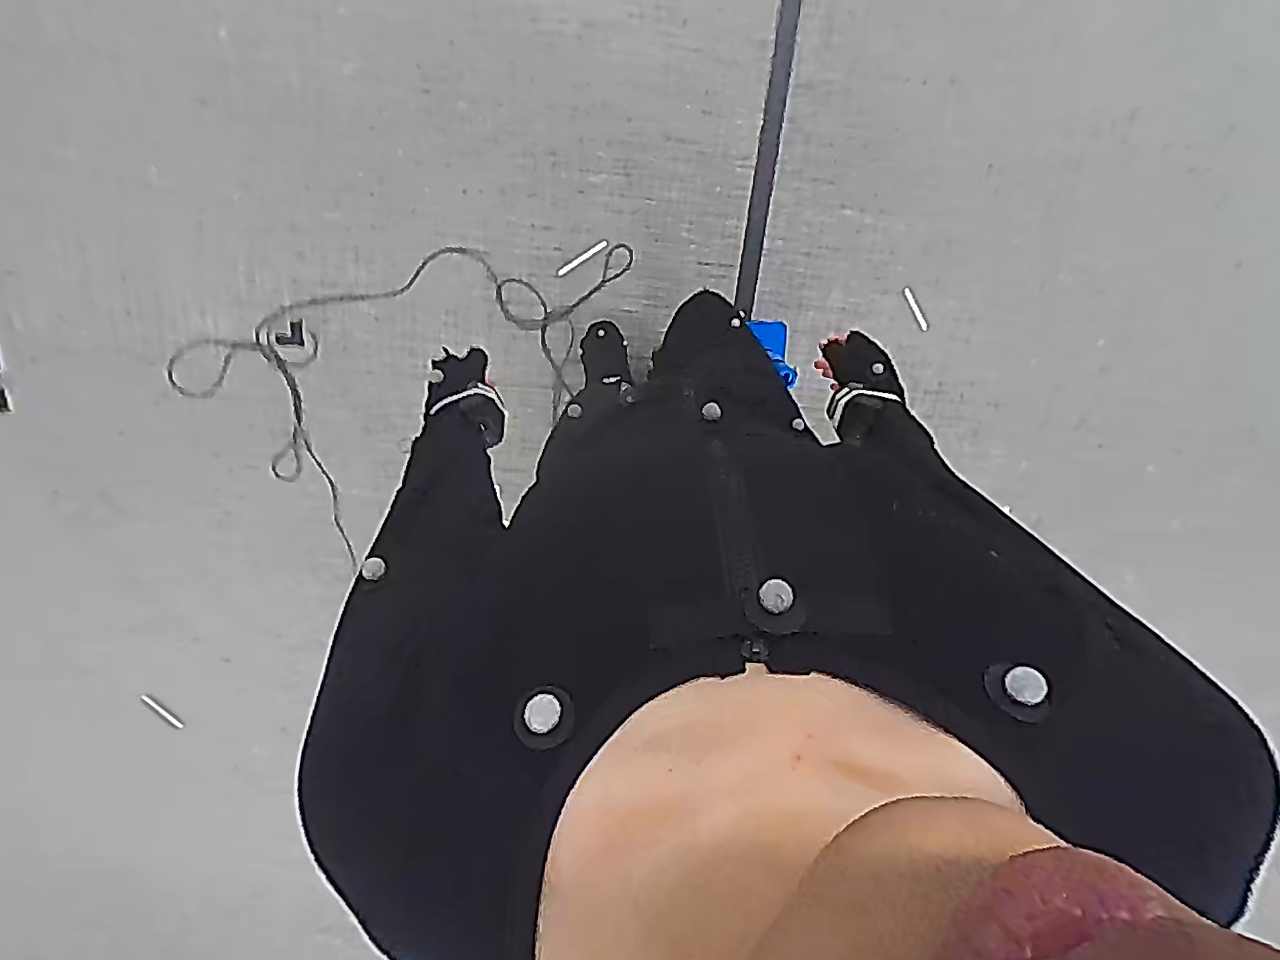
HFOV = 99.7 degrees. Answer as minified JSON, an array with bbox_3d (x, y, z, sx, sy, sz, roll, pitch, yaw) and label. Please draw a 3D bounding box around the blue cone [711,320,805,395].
[{"bbox_3d":[0.289,-0.267,1.249,0.192,0.380,0.193,1,108,-4],"label":"blue cone"}]
